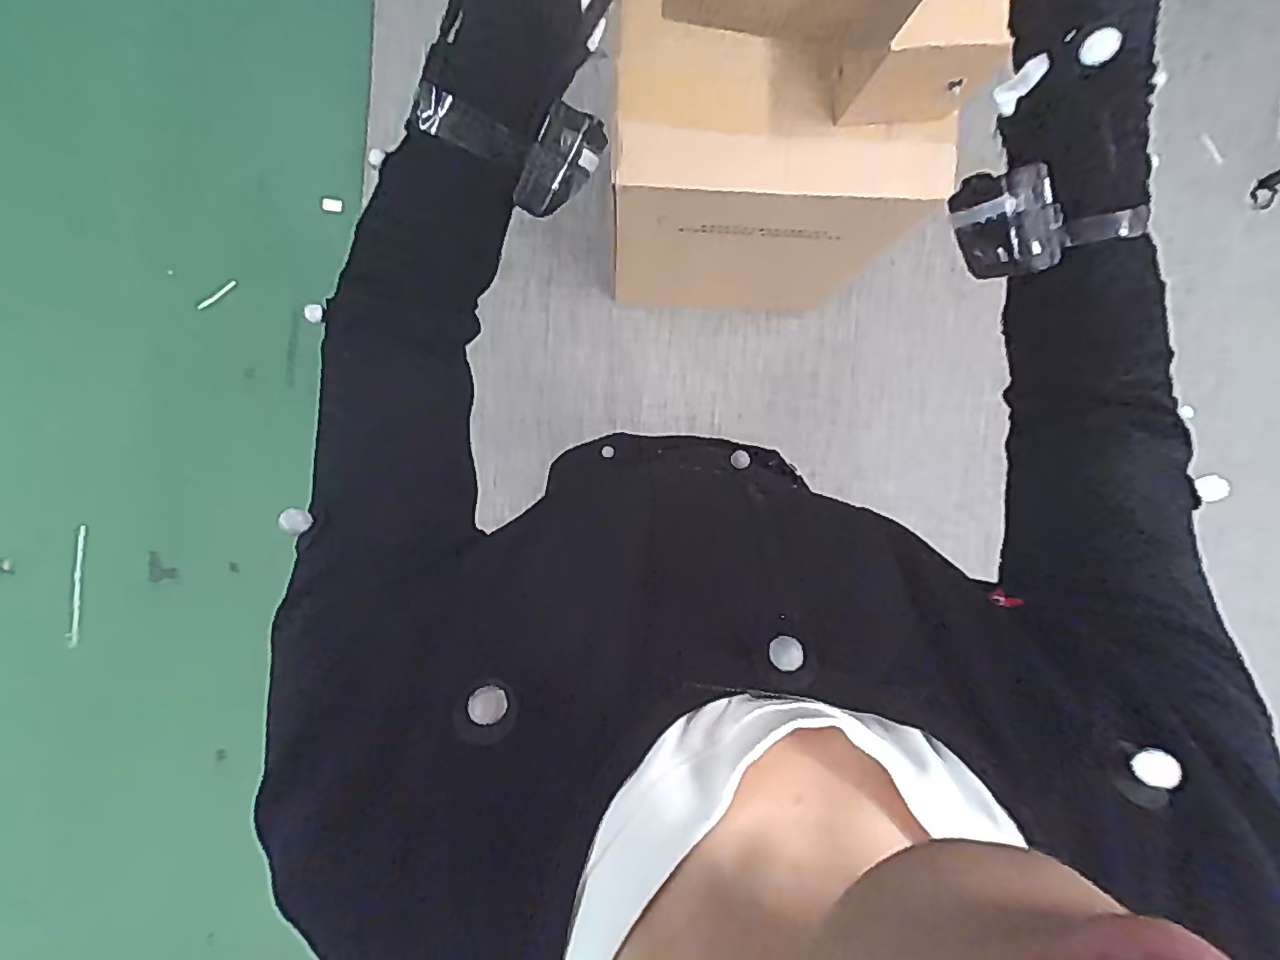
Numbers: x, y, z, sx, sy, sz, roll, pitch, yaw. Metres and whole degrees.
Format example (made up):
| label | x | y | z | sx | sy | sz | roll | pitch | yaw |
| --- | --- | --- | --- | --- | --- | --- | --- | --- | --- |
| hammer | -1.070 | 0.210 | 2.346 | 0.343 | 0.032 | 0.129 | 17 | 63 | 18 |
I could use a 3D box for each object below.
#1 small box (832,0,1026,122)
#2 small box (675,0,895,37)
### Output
| label | x | y | z | sx | sy | sz | roll | pitch | yaw |
| --- | --- | --- | --- | --- | --- | --- | --- | --- | --- |
| small box | 0.378 | -0.619 | 0.732 | 0.179 | 0.176 | 0.168 | -6 | 95 | -1 |
| small box | 0.114 | -0.418 | 0.326 | 0.179 | 0.176 | 0.168 | 5 | 93 | -6 |
